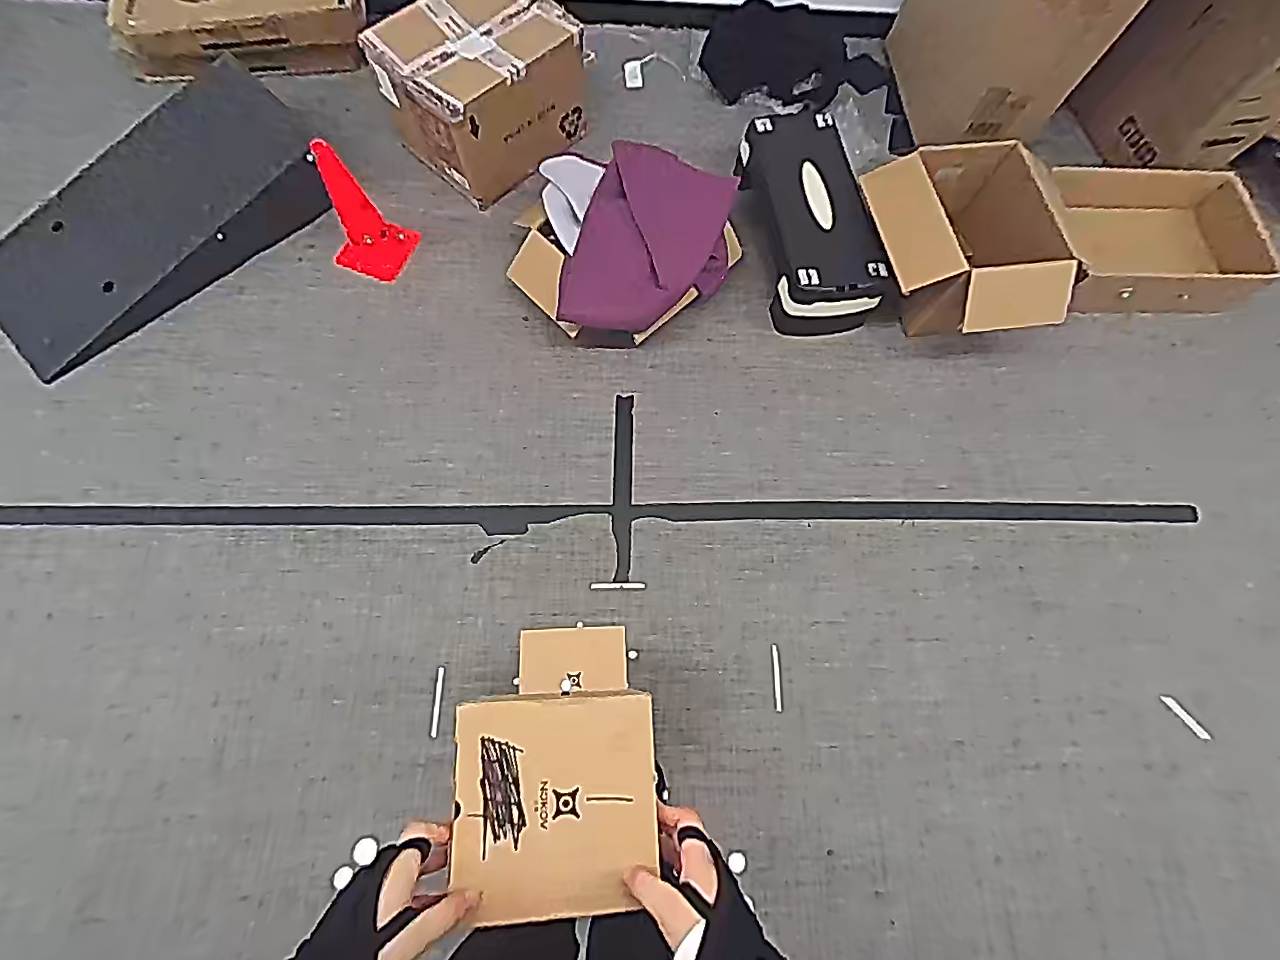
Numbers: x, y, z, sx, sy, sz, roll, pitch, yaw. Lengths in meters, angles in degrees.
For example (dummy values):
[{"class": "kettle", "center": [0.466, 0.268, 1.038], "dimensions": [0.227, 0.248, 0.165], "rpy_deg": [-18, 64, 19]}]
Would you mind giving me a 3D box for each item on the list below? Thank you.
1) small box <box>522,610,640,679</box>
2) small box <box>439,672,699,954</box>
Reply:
[{"class": "small box", "center": [-0.085, 0.296, 0.817], "dimensions": [0.168, 0.176, 0.179], "rpy_deg": [-2, 72, -3]}, {"class": "small box", "center": [-0.058, 0.256, 0.460], "dimensions": [0.179, 0.176, 0.168], "rpy_deg": [-1, 72, -8]}]
